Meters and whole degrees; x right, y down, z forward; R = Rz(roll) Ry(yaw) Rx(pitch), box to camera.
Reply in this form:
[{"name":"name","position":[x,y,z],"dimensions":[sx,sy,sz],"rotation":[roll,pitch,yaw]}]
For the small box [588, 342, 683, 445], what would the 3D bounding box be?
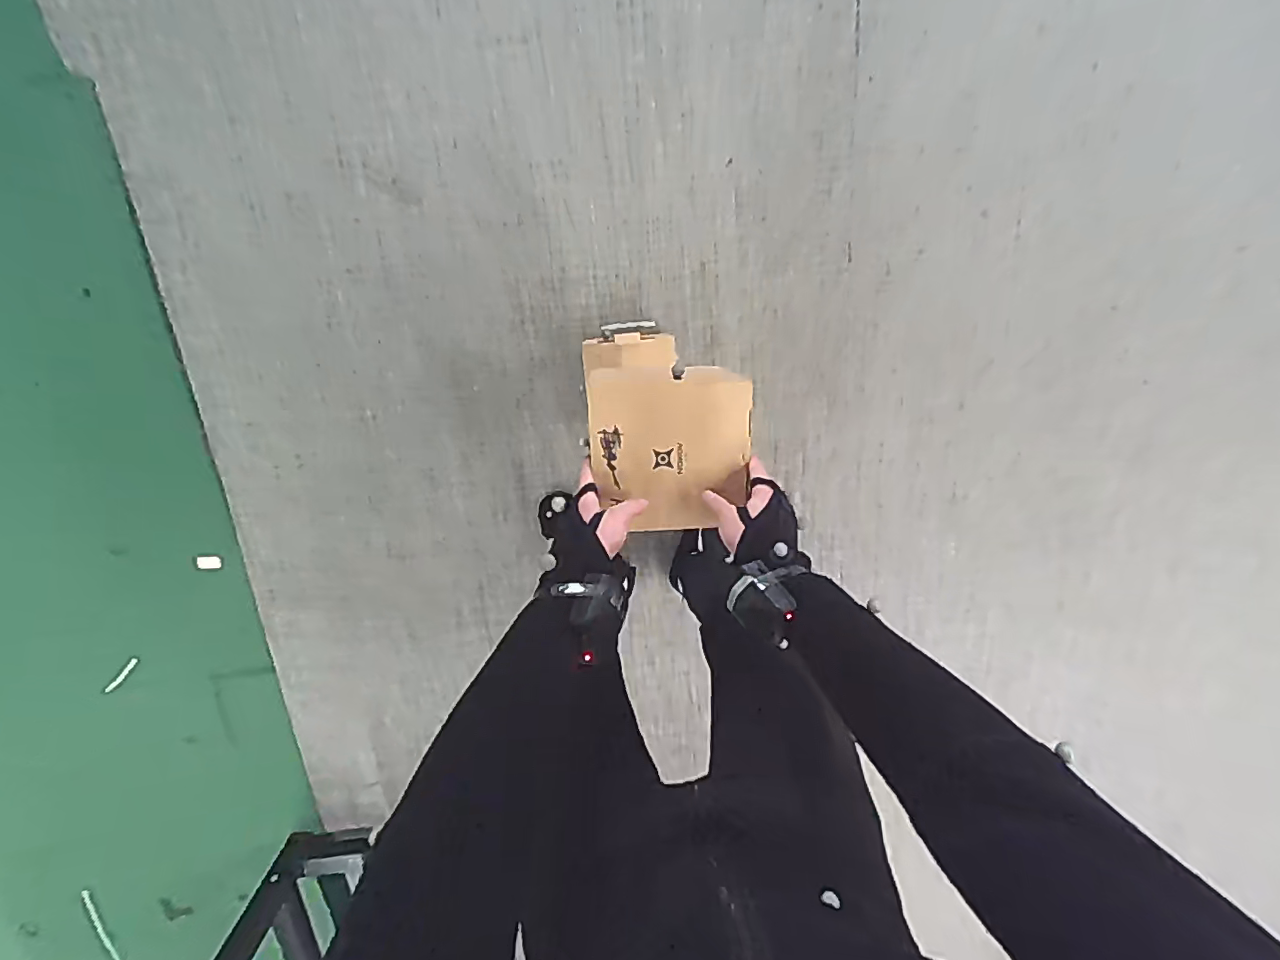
[{"name":"small box","position":[-0.009,-0.169,1.023],"dimensions":[0.168,0.176,0.179],"rotation":[-2,106,0]}]
